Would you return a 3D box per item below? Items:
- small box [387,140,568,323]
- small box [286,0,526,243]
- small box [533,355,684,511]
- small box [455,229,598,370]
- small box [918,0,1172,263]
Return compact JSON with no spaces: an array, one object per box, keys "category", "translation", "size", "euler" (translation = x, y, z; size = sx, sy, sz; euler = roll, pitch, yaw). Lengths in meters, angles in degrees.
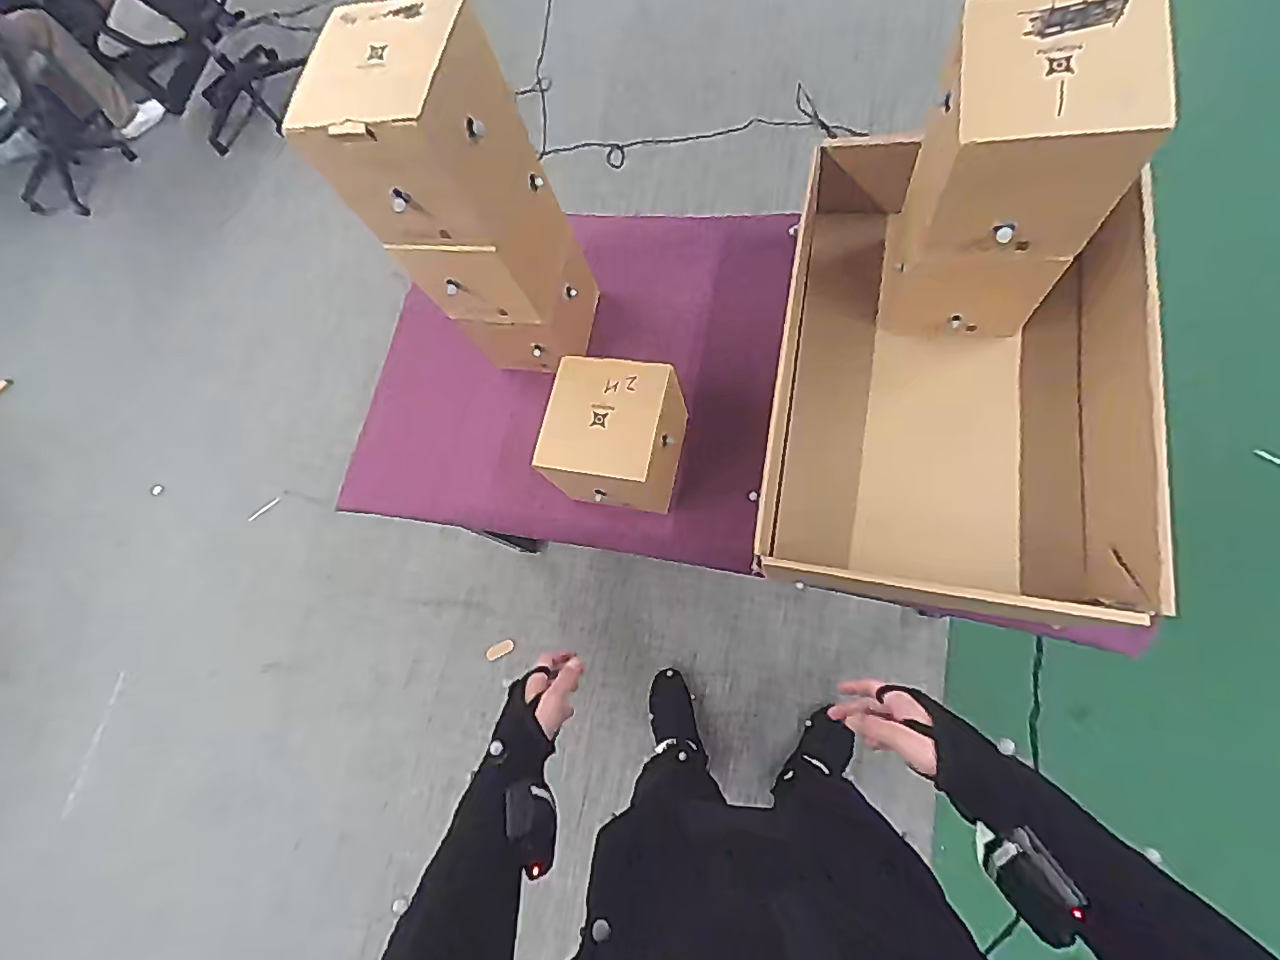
[{"category":"small box","translation":[-0.218,-0.346,0.776],"size":[0.168,0.176,0.179],"euler":[8,74,15]},{"category":"small box","translation":[-0.251,-0.398,0.623],"size":[0.168,0.176,0.179],"euler":[7,75,14]},{"category":"small box","translation":[-0.035,-0.064,0.813],"size":[0.168,0.176,0.179],"euler":[9,74,15]},{"category":"small box","translation":[-0.182,-0.302,0.927],"size":[0.168,0.176,0.179],"euler":[8,75,14]},{"category":"small box","translation":[0.404,-0.358,0.572],"size":[0.168,0.176,0.179],"euler":[6,76,16]}]
